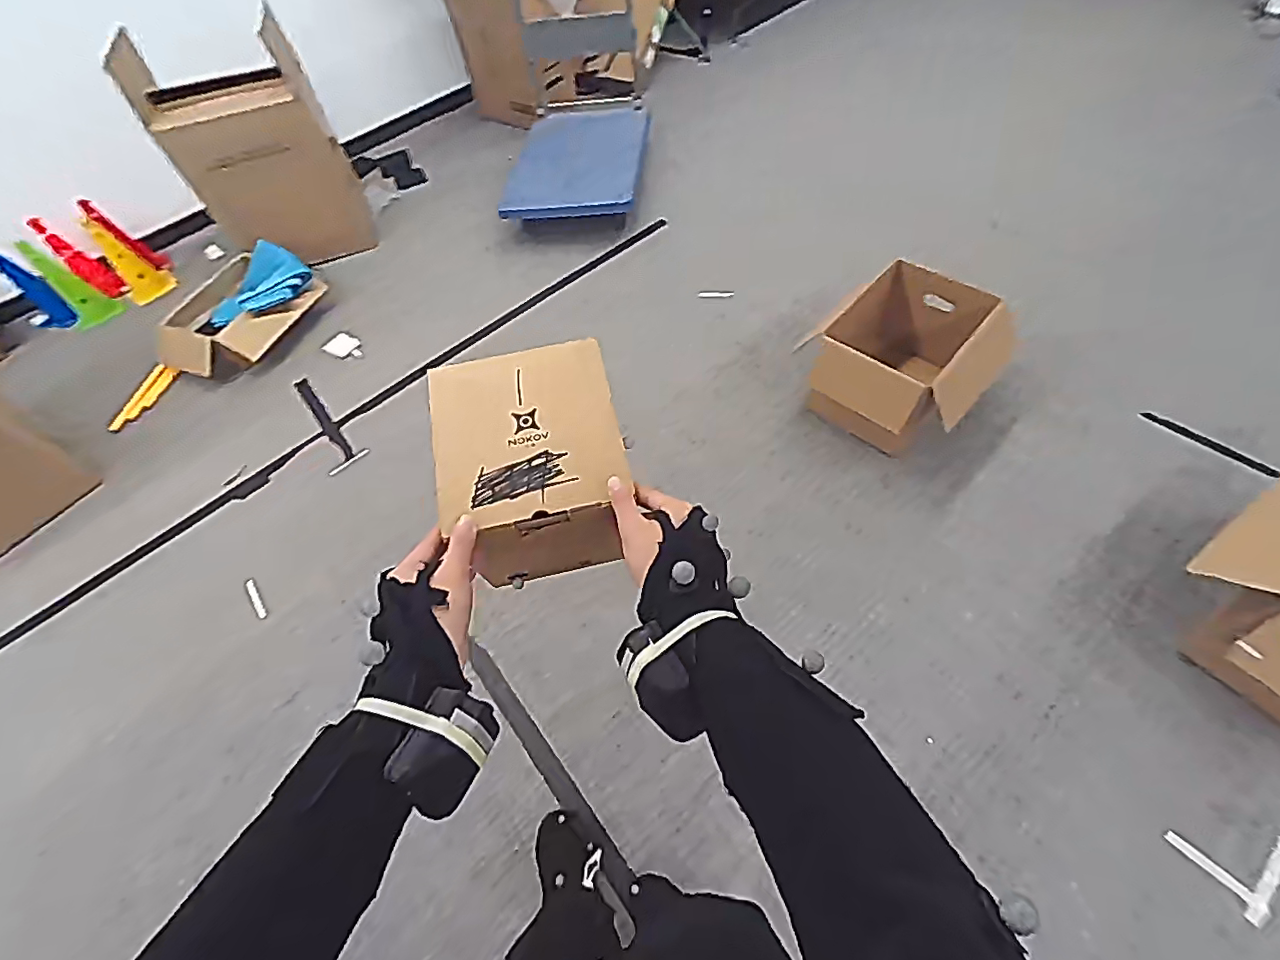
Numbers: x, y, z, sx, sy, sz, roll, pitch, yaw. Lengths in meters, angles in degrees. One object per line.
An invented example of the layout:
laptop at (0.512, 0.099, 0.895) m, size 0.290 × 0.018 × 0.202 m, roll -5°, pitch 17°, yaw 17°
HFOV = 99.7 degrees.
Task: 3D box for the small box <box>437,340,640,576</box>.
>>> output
small box at (-0.095, -0.011, 0.559) m, size 0.168 × 0.176 × 0.179 m, roll -12°, pitch 64°, yaw -5°
